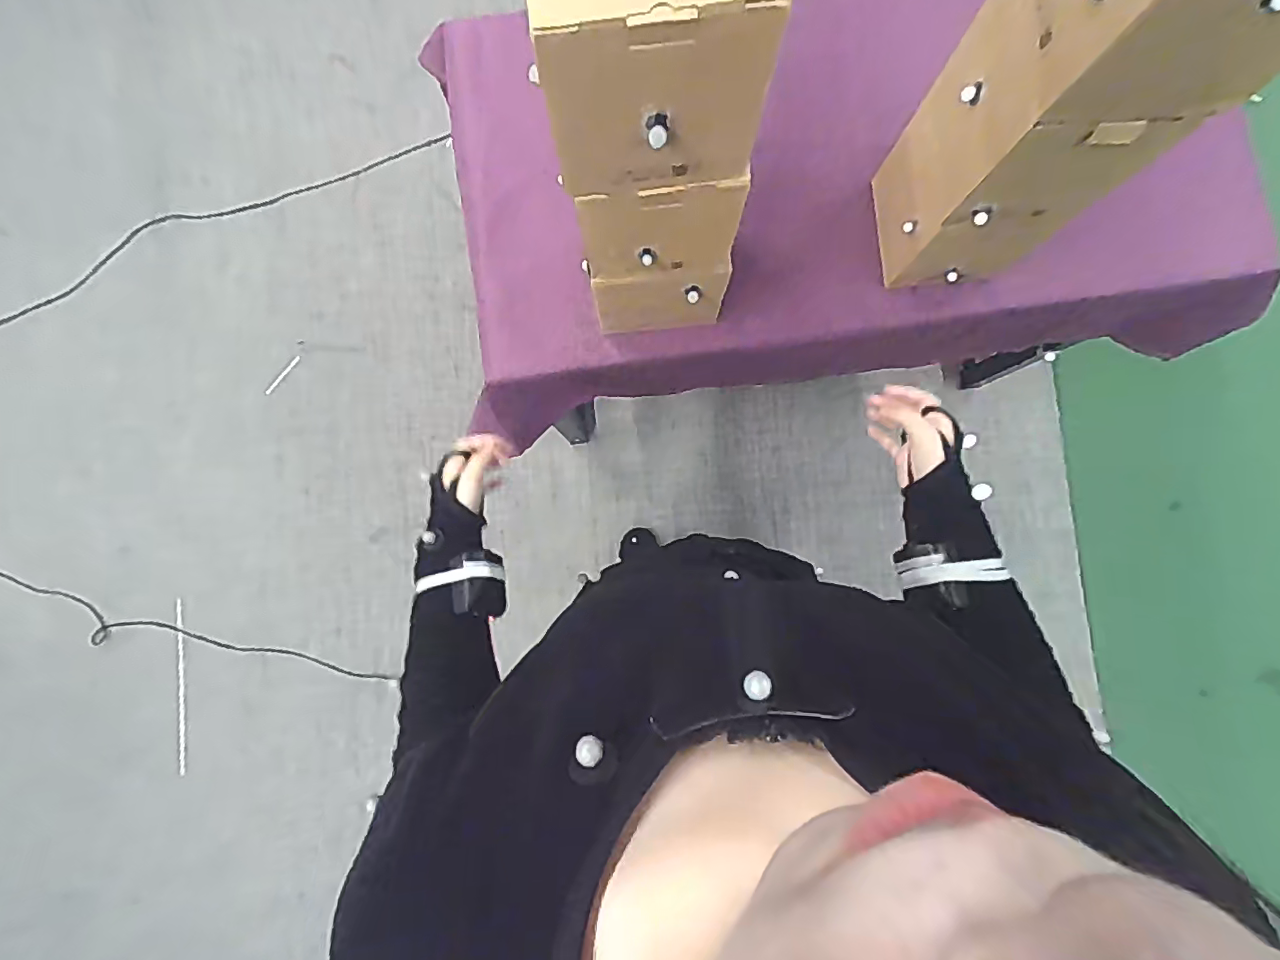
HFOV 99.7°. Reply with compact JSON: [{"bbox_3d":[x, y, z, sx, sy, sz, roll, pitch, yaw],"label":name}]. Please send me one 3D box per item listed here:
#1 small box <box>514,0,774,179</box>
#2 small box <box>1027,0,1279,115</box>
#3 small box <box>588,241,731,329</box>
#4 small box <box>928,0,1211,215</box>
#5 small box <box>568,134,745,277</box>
[{"bbox_3d":[-0.002,-0.362,0.420,0.168,0.176,0.179,-7,86,0],"label":"small box"},{"bbox_3d":[0.429,-0.412,0.410,0.179,0.176,0.168,-1,86,1],"label":"small box"},{"bbox_3d":[0.020,-0.321,0.745,0.179,0.176,0.168,-5,84,1],"label":"small box"},{"bbox_3d":[0.432,-0.404,0.573,0.168,0.176,0.179,-2,84,2],"label":"small box"},{"bbox_3d":[0.011,-0.345,0.583,0.168,0.176,0.179,-5,85,1],"label":"small box"}]
